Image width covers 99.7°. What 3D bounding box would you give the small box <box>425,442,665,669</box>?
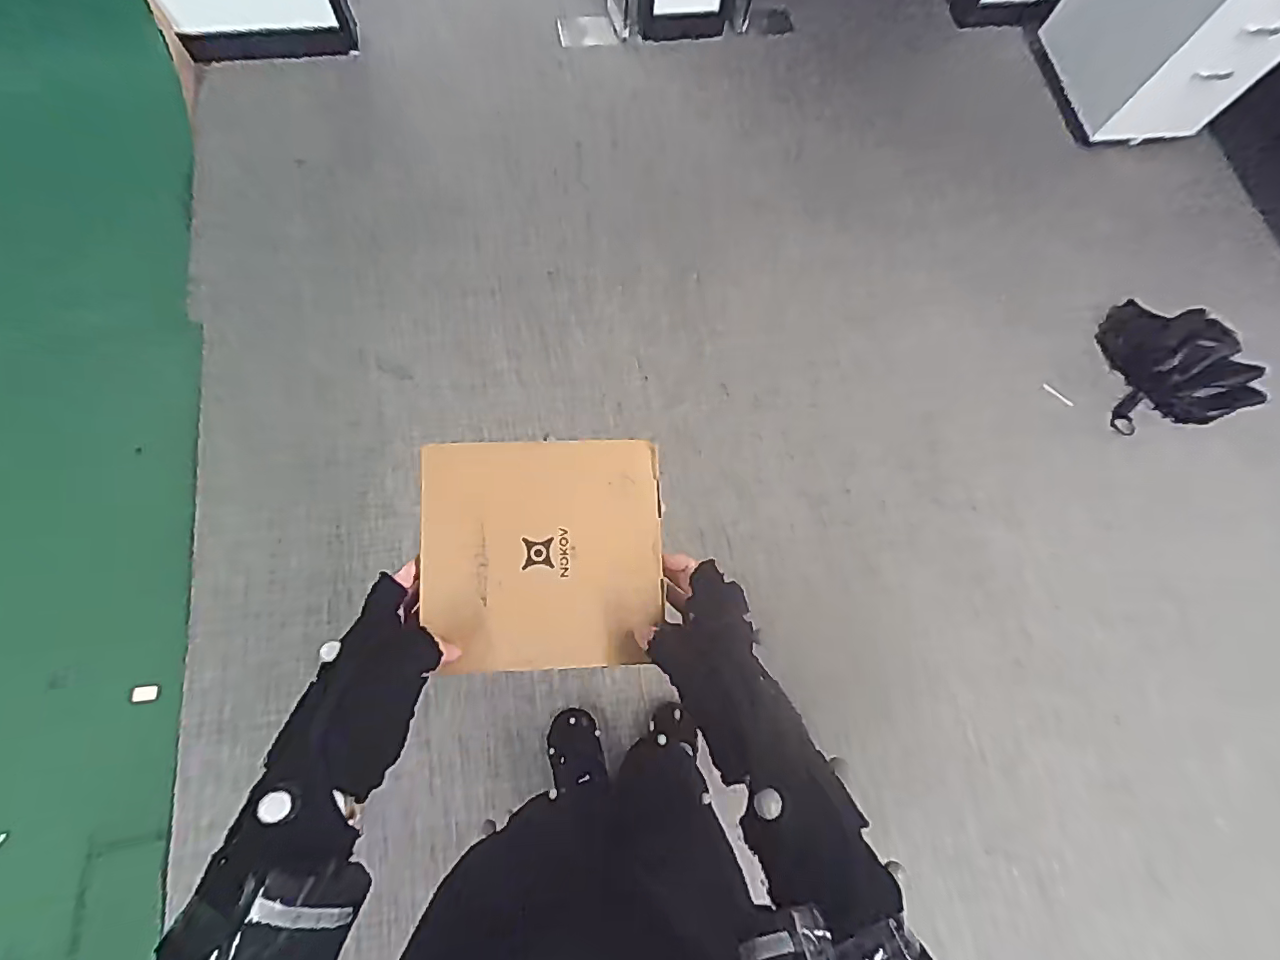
[{"bbox_3d":[-0.077,0.062,0.482,0.179,0.176,0.168,-2,83,-4],"label":"small box"}]
